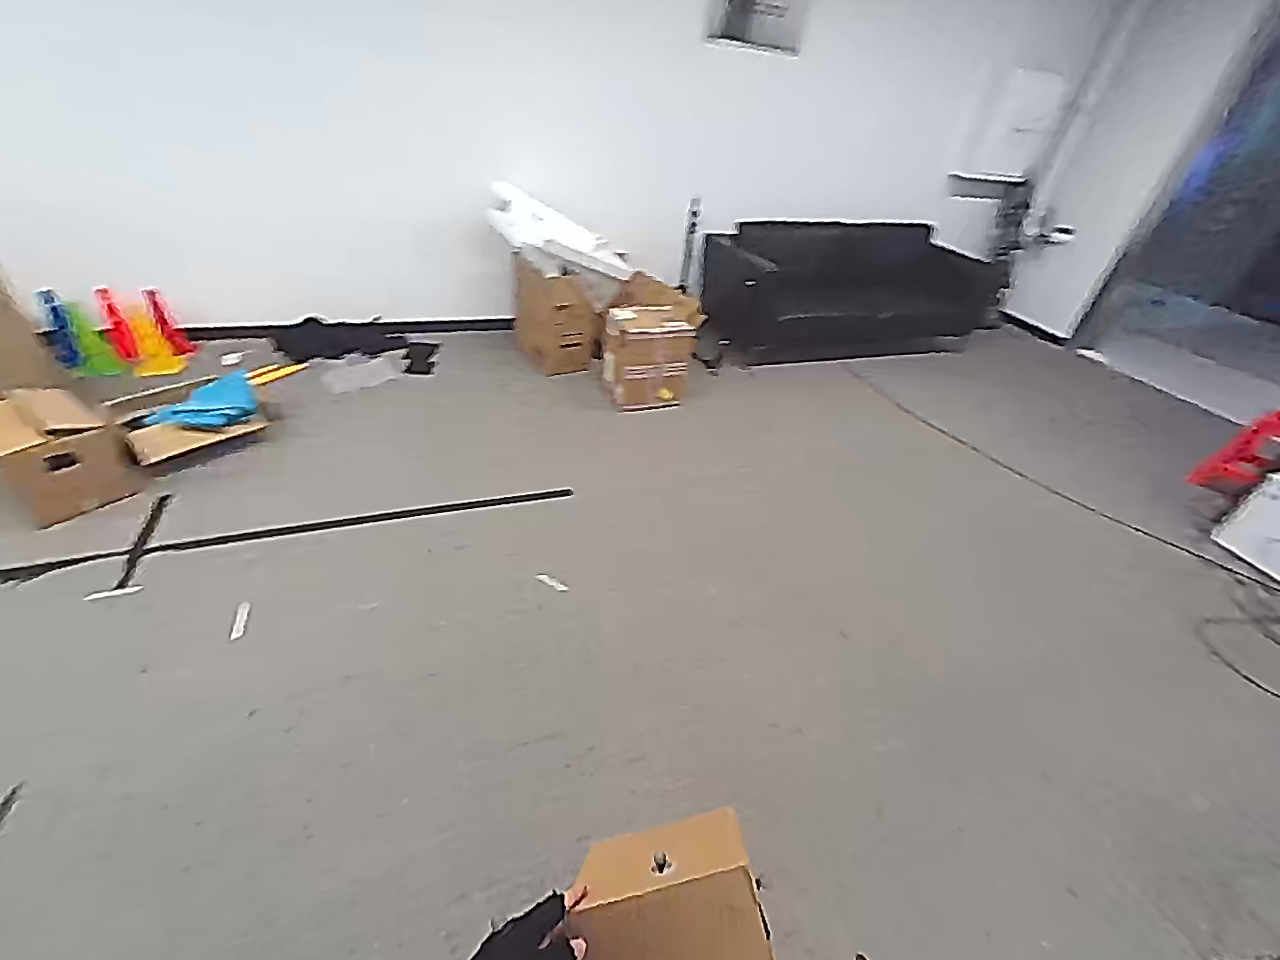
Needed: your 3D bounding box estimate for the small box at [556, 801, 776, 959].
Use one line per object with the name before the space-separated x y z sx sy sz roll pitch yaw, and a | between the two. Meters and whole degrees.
small box | 0.035 0.443 0.531 0.179 0.176 0.168 -17 72 0
